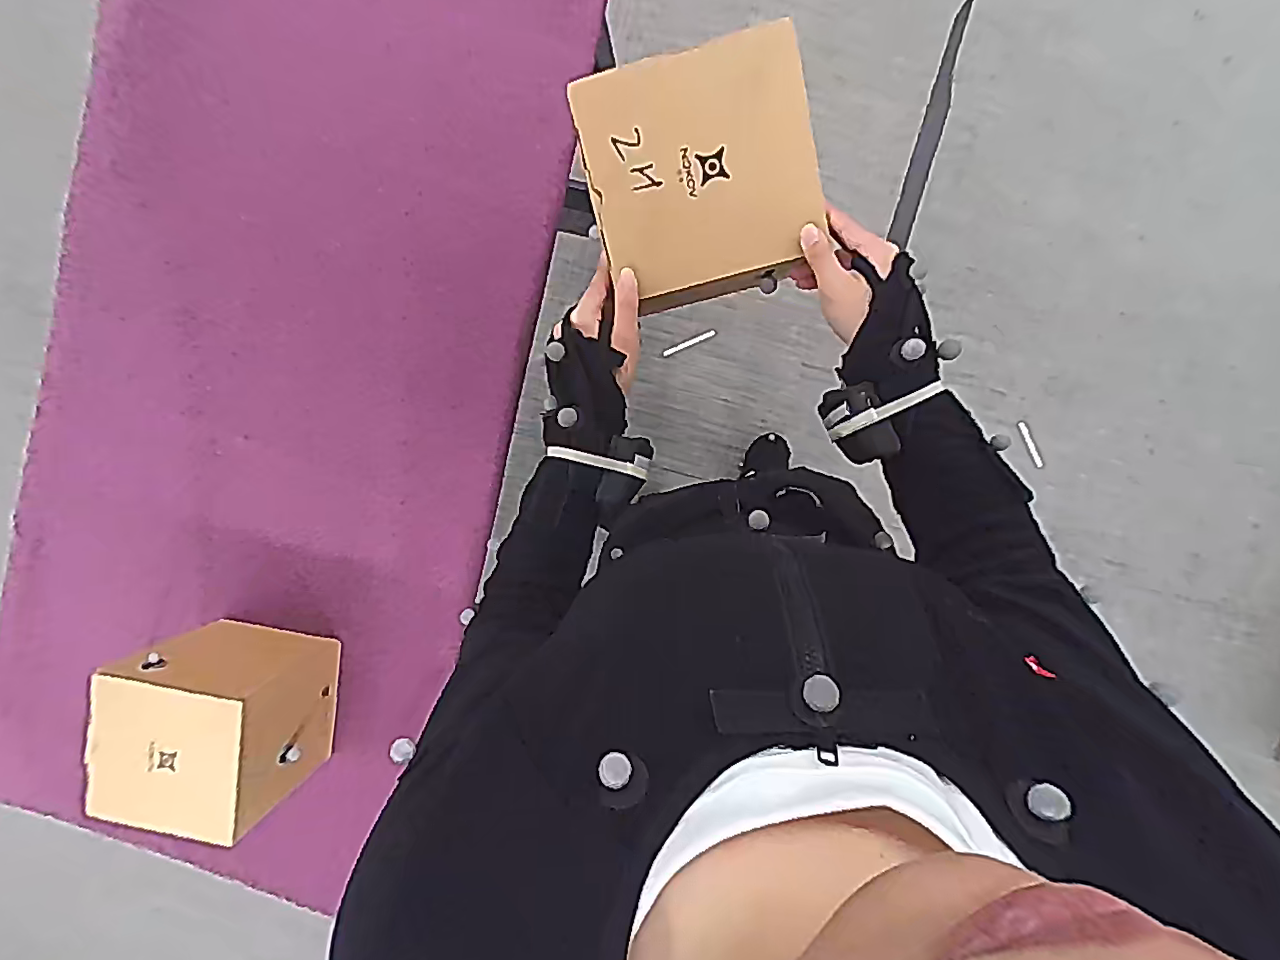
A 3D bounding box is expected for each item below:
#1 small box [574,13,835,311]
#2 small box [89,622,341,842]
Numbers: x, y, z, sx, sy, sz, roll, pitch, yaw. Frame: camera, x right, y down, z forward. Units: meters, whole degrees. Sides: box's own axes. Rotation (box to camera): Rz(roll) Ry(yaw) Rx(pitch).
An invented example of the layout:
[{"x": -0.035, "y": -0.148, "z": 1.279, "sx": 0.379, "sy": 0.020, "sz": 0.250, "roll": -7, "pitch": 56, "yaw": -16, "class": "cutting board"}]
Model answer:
[{"x": 0.053, "y": -0.259, "z": 0.489, "sx": 0.179, "sy": 0.176, "sz": 0.168, "roll": -13, "pitch": 101, "yaw": 5, "class": "small box"}, {"x": -0.494, "y": 0.285, "z": 0.650, "sx": 0.179, "sy": 0.176, "sz": 0.168, "roll": 8, "pitch": 95, "yaw": 5, "class": "small box"}]
